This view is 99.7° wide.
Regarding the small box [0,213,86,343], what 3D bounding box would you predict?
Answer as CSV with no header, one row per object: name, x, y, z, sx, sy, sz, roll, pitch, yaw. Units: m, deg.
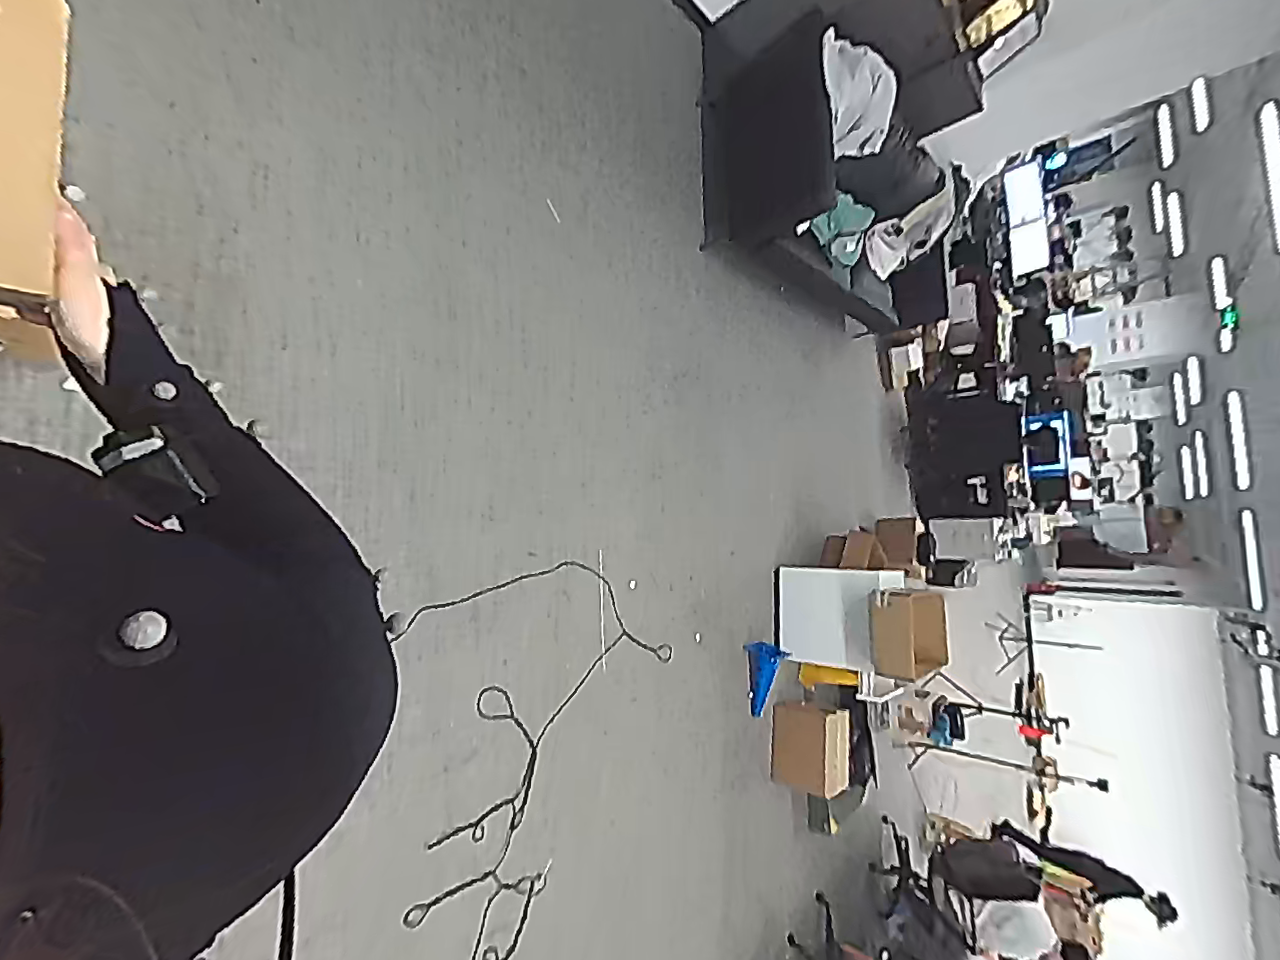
small box,-1.039,-0.344,0.873,0.168,0.176,0.179,16,76,-47

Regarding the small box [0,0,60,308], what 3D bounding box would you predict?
small box,-0.471,-0.211,0.315,0.168,0.176,0.179,3,97,-50
